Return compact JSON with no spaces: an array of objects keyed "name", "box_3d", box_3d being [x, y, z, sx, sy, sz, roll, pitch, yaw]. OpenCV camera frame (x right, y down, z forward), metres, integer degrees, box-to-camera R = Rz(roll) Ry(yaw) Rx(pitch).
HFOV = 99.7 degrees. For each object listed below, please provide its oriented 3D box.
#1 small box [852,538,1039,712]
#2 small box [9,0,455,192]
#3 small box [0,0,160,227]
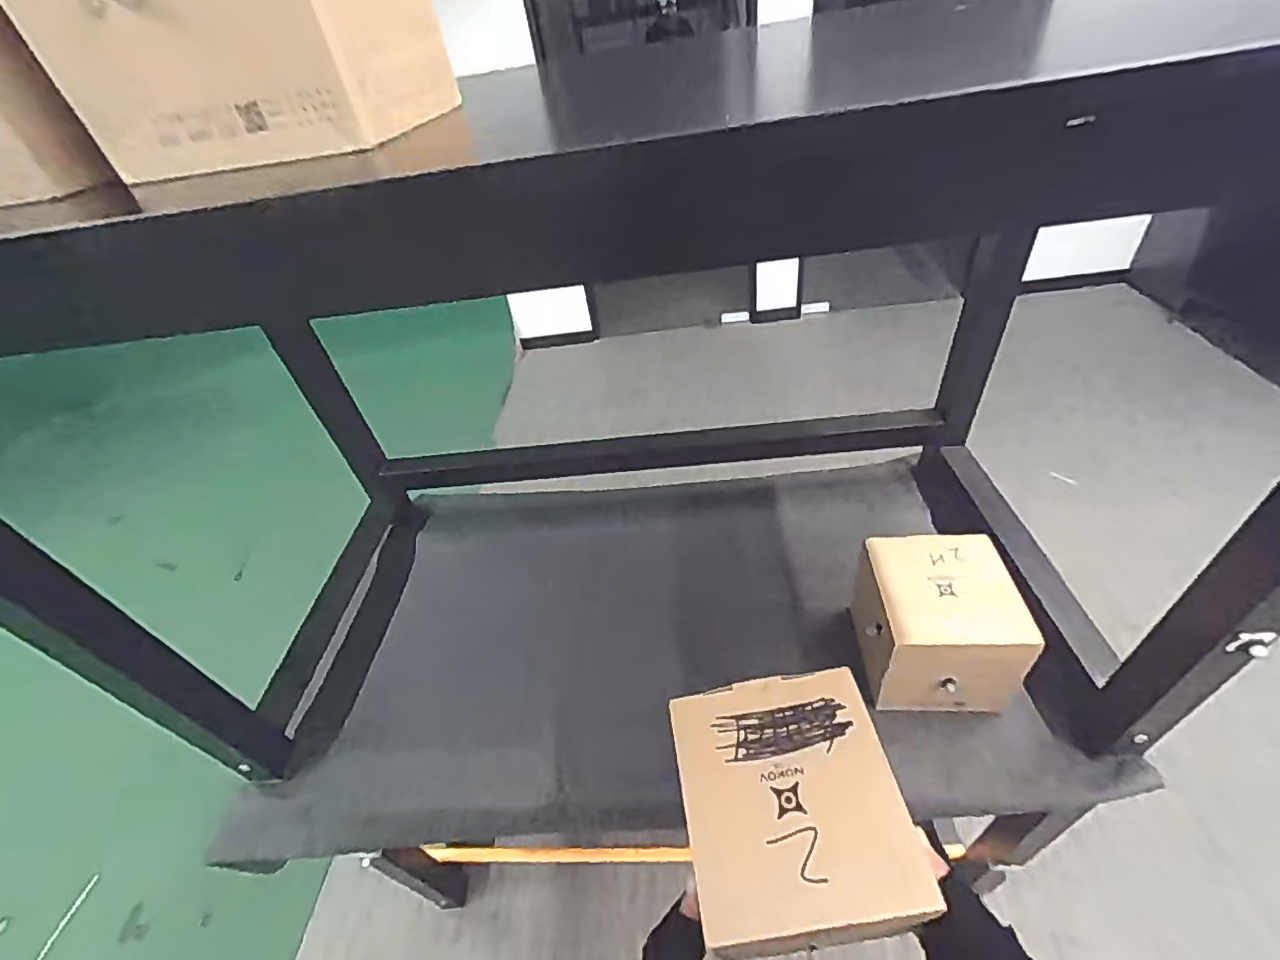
[{"name":"small box","box_3d":[0.403,0.202,0.751,0.168,0.176,0.179,-2,41,9]},{"name":"small box","box_3d":[-0.239,-0.293,0.338,0.168,0.176,0.179,-3,41,8]},{"name":"small box","box_3d":[-0.435,-0.277,0.356,0.168,0.176,0.179,-4,42,7]}]
